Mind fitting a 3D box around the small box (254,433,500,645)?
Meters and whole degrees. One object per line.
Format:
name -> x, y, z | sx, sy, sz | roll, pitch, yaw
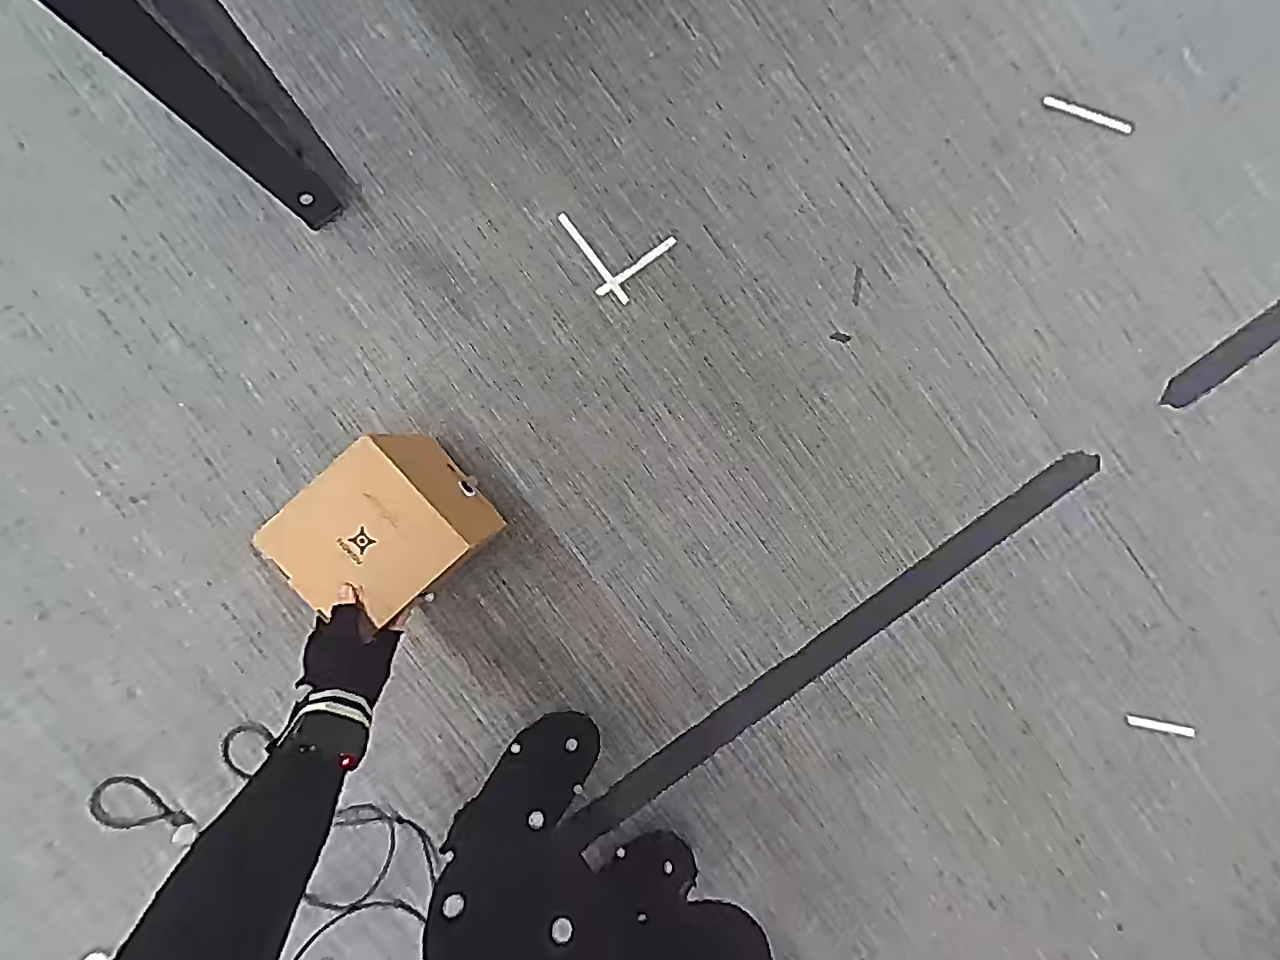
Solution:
small box -> -0.300, 0.060, 0.660 | 0.179, 0.176, 0.168 | -43, 94, 3
